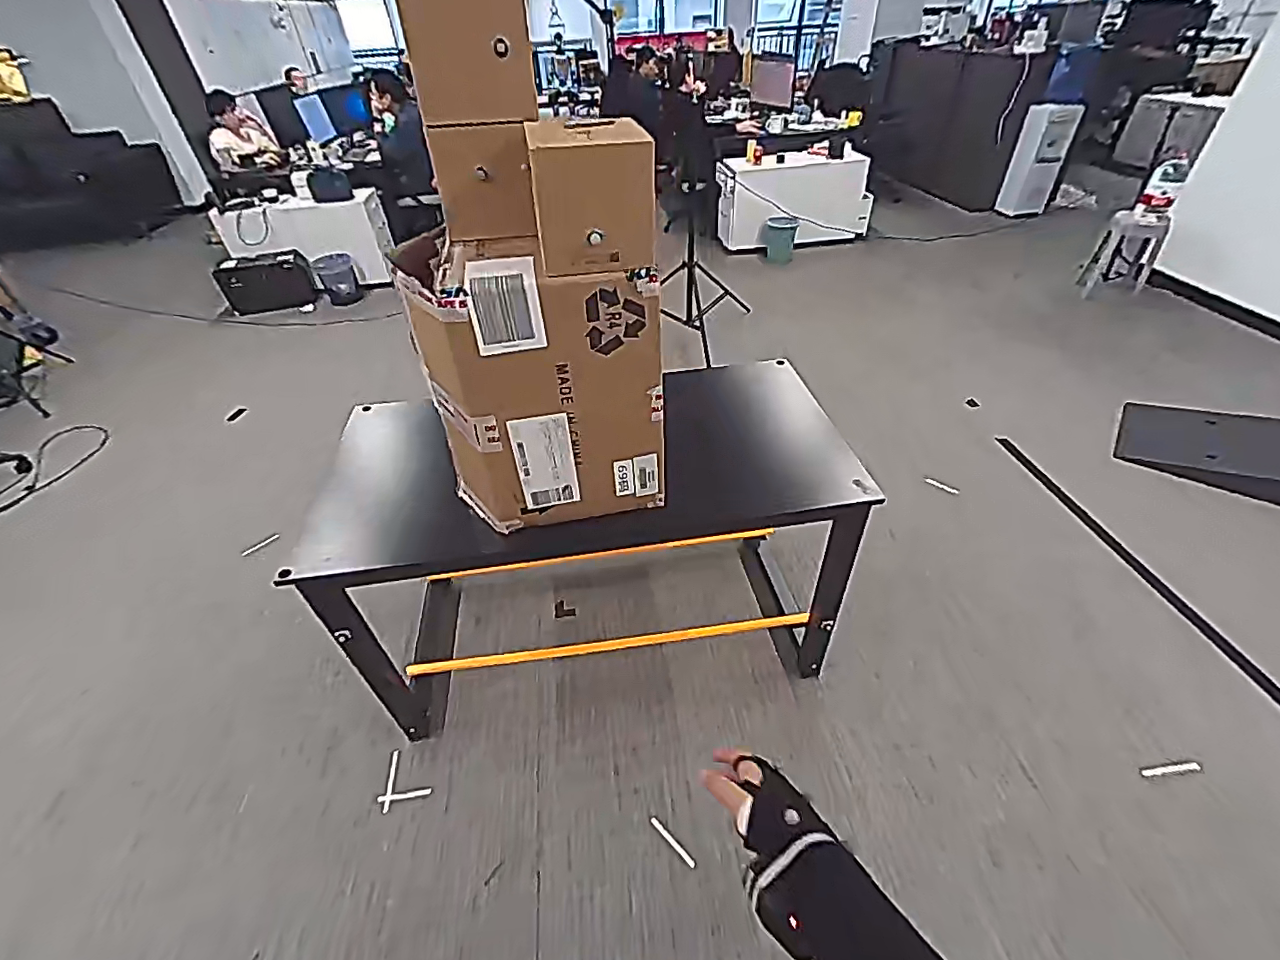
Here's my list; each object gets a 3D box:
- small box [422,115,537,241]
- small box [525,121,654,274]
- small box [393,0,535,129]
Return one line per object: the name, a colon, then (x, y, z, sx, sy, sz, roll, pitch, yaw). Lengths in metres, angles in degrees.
small box: (-0.256, -0.525, 0.936, 0.179, 0.176, 0.168, -9, 39, -8)
small box: (-0.077, -0.424, 0.811, 0.168, 0.176, 0.179, -9, 42, -8)
small box: (-0.260, -0.650, 0.831, 0.179, 0.176, 0.168, -11, 38, -9)
